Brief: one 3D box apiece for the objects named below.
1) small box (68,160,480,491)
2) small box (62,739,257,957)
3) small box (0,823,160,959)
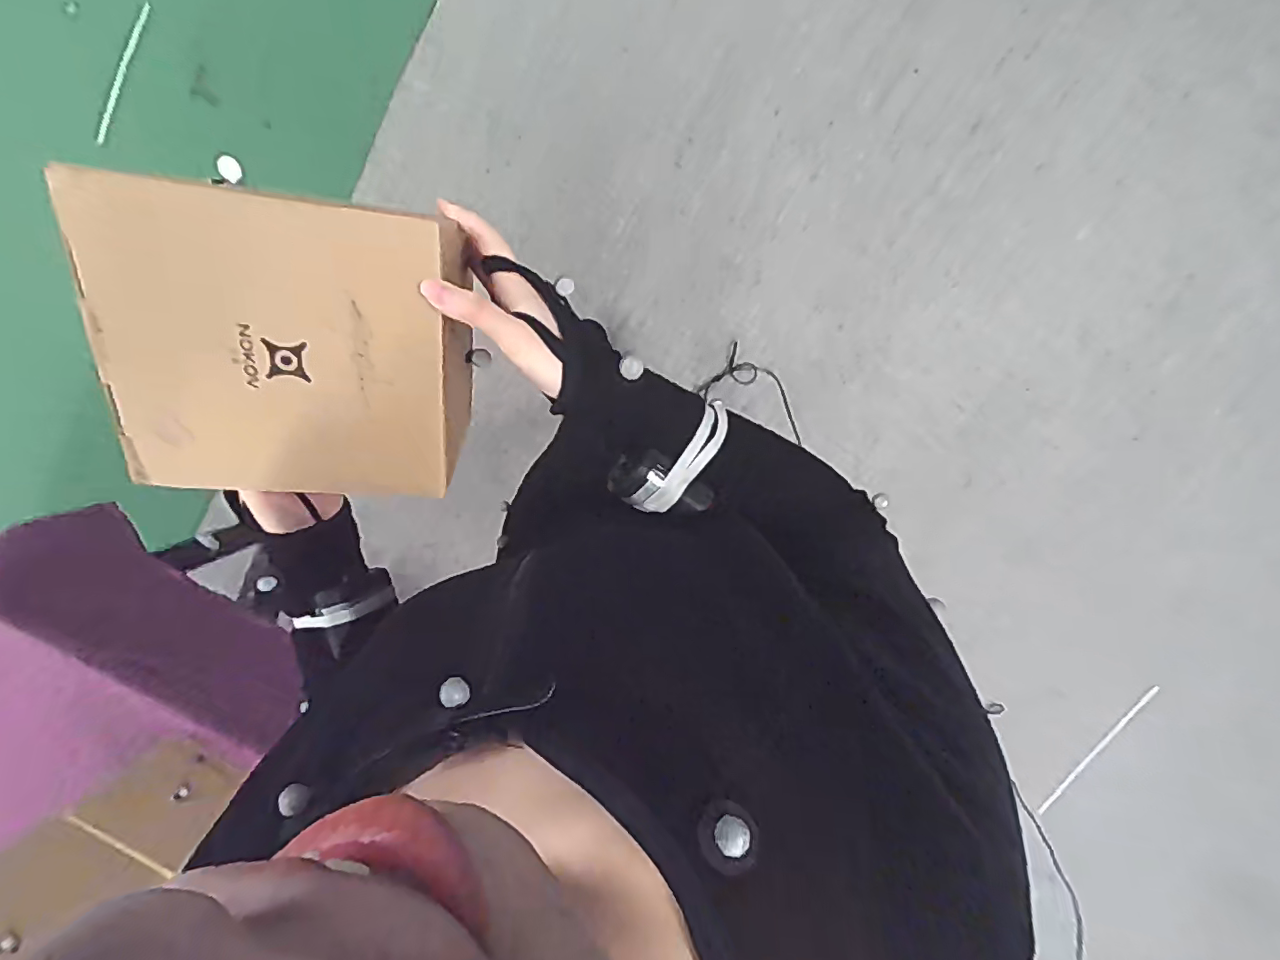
[{"bbox_3d":[-0.211,-0.106,0.375,0.179,0.176,0.168,3,115,-13],"label":"small box"},{"bbox_3d":[-0.723,0.533,0.807,0.168,0.176,0.179,33,102,-2],"label":"small box"},{"bbox_3d":[-0.743,0.563,0.646,0.179,0.176,0.168,33,101,-2],"label":"small box"}]
